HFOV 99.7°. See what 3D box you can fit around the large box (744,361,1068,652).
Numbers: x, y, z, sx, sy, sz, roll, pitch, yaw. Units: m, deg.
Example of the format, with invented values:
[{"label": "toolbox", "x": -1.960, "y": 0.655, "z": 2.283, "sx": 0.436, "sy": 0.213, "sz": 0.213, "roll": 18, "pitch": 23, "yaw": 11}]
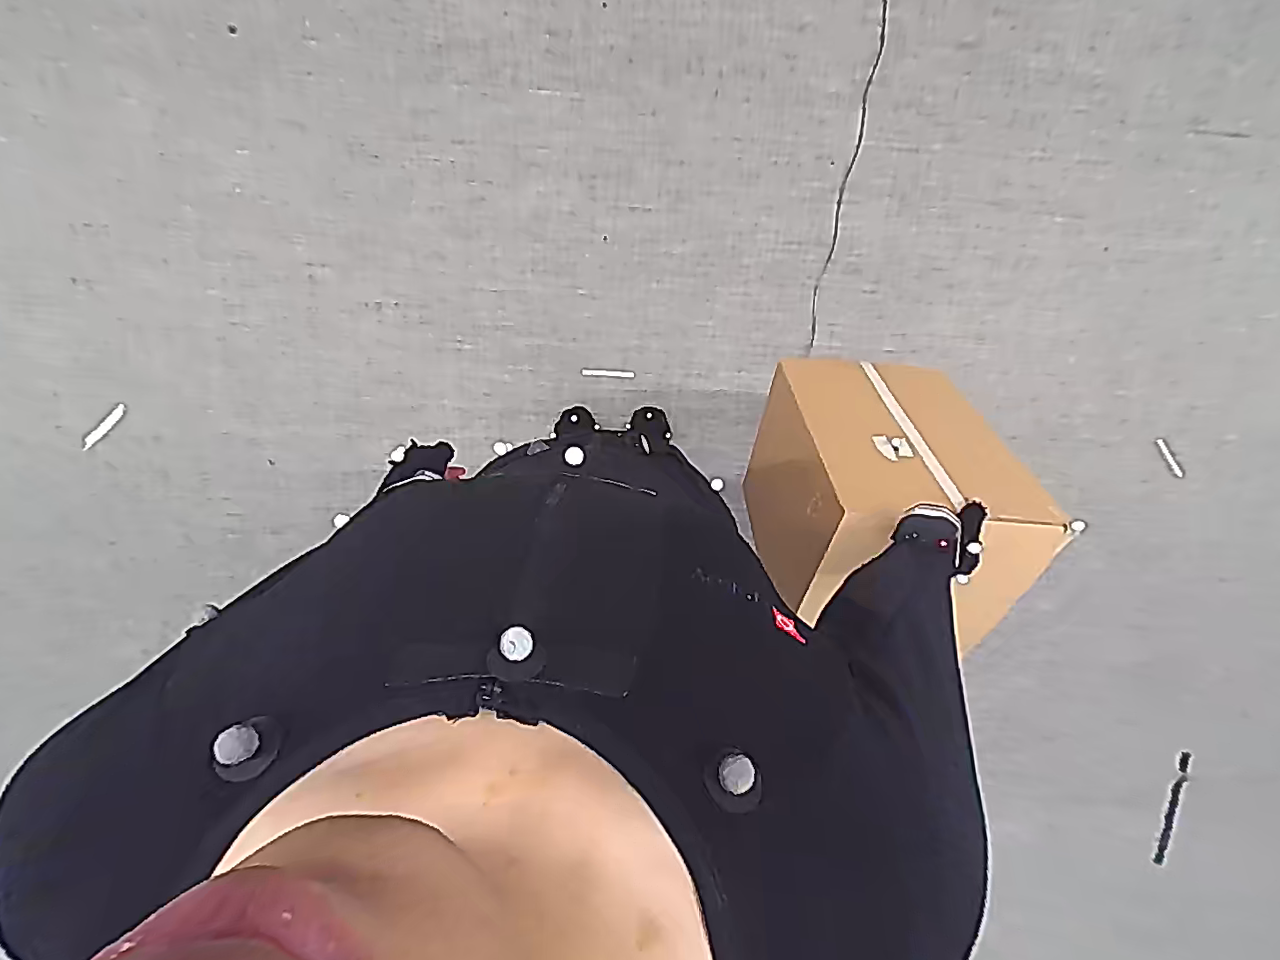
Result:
[{"label": "large box", "x": 0.396, "y": 0.038, "z": 0.946, "sx": 0.320, "sy": 0.408, "sz": 0.320, "roll": 3, "pitch": 132, "yaw": -4}]
